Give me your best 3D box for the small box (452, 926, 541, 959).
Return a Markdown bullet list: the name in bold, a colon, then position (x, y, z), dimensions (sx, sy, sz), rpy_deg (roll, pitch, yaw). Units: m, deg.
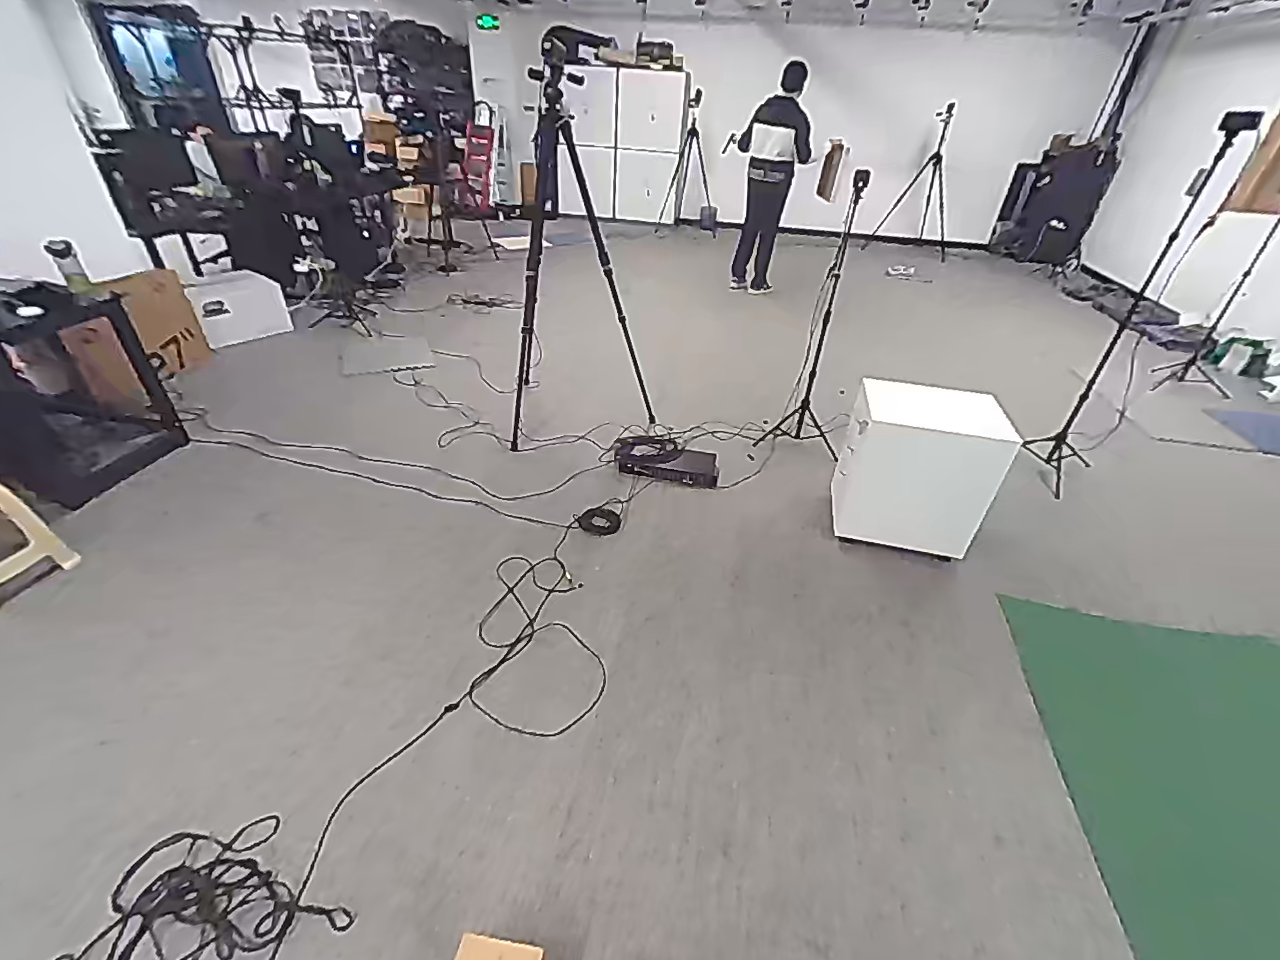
- **small box**: position (-0.286, 1.005, 1.035), dimensions (0.168, 0.176, 0.179), rpy_deg (8, 35, 5)
